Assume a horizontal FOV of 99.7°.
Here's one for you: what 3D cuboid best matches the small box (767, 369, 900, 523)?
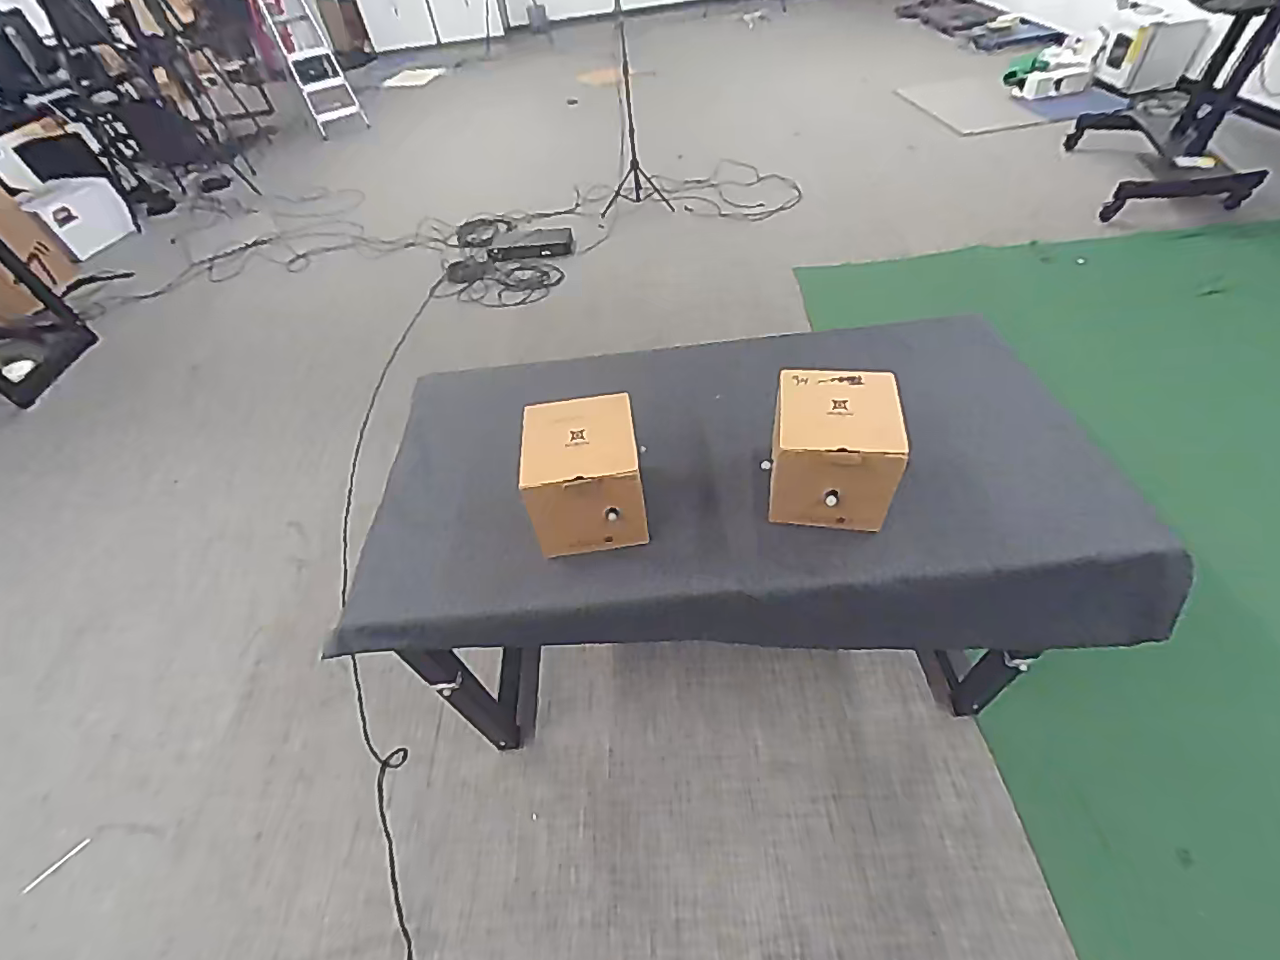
[{"bbox_3d":[0.288,-0.051,0.837,0.168,0.176,0.179,4,50,11],"label":"small box"}]

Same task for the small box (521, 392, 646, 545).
[{"bbox_3d":[-0.084,-0.012,0.850,0.168,0.176,0.179,-8,46,-2],"label":"small box"}]
